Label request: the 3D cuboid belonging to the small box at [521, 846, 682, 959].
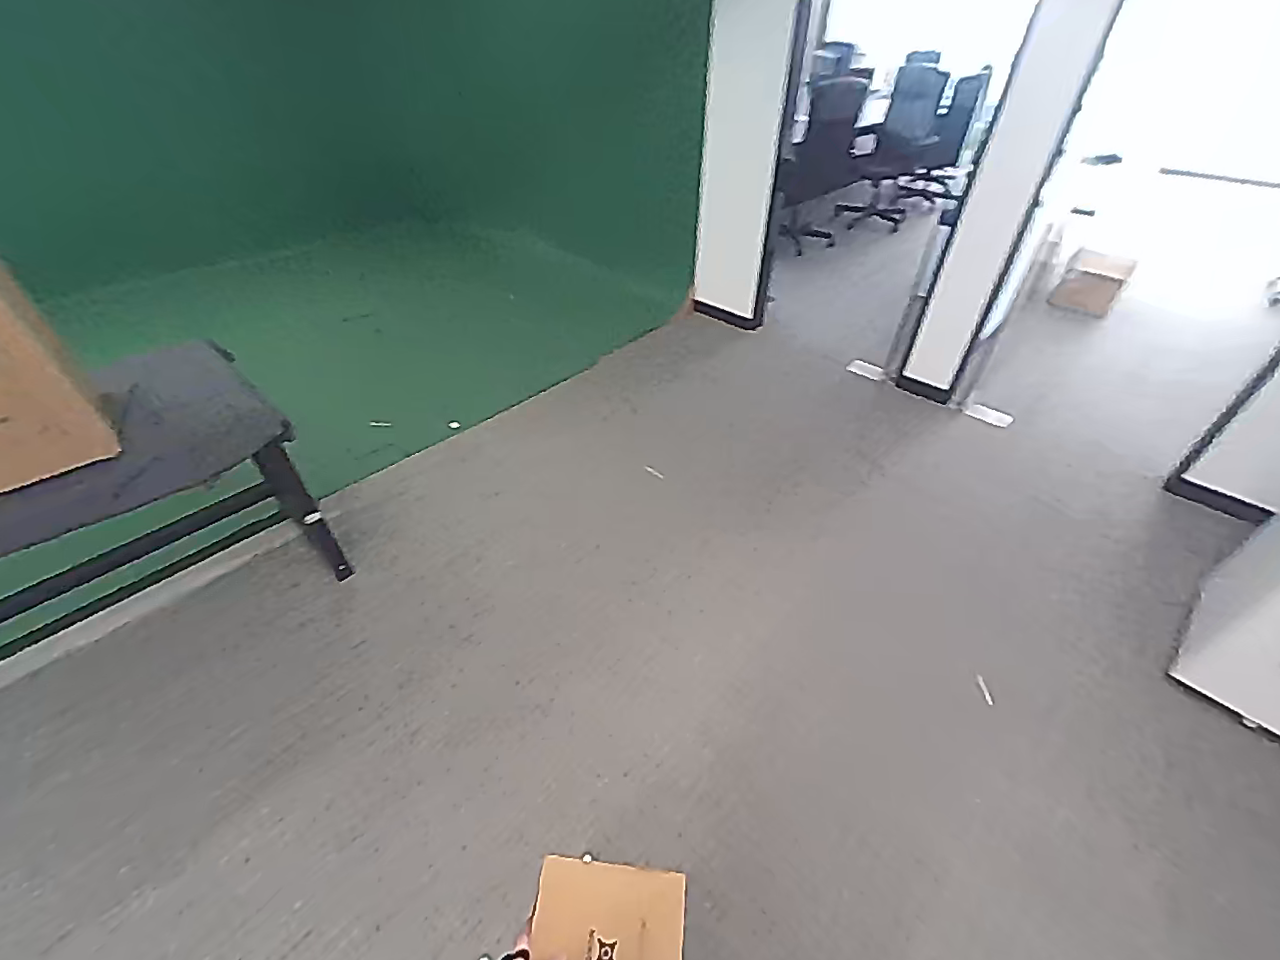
[{"bbox_3d":[-0.041,0.571,0.665,0.179,0.176,0.168,4,48,4],"label":"small box"}]
